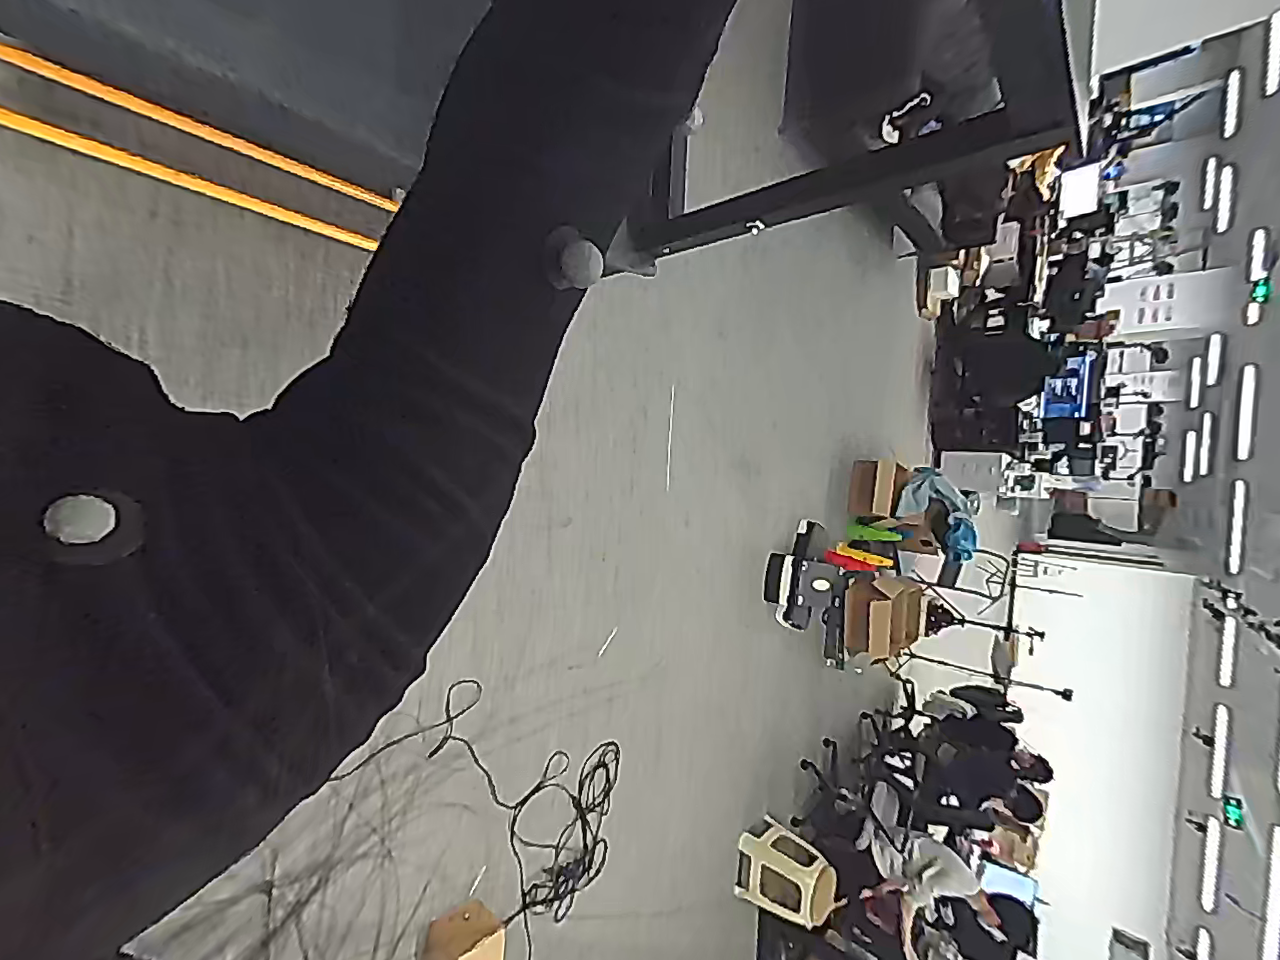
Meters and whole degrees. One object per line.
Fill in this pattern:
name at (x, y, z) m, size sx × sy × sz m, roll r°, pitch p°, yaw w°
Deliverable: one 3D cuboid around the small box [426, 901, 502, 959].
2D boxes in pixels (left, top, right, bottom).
small box at (-0.550, 1.474, 1.679) m, size 0.168 × 0.176 × 0.179 m, roll 2°, pitch 91°, yaw -49°
